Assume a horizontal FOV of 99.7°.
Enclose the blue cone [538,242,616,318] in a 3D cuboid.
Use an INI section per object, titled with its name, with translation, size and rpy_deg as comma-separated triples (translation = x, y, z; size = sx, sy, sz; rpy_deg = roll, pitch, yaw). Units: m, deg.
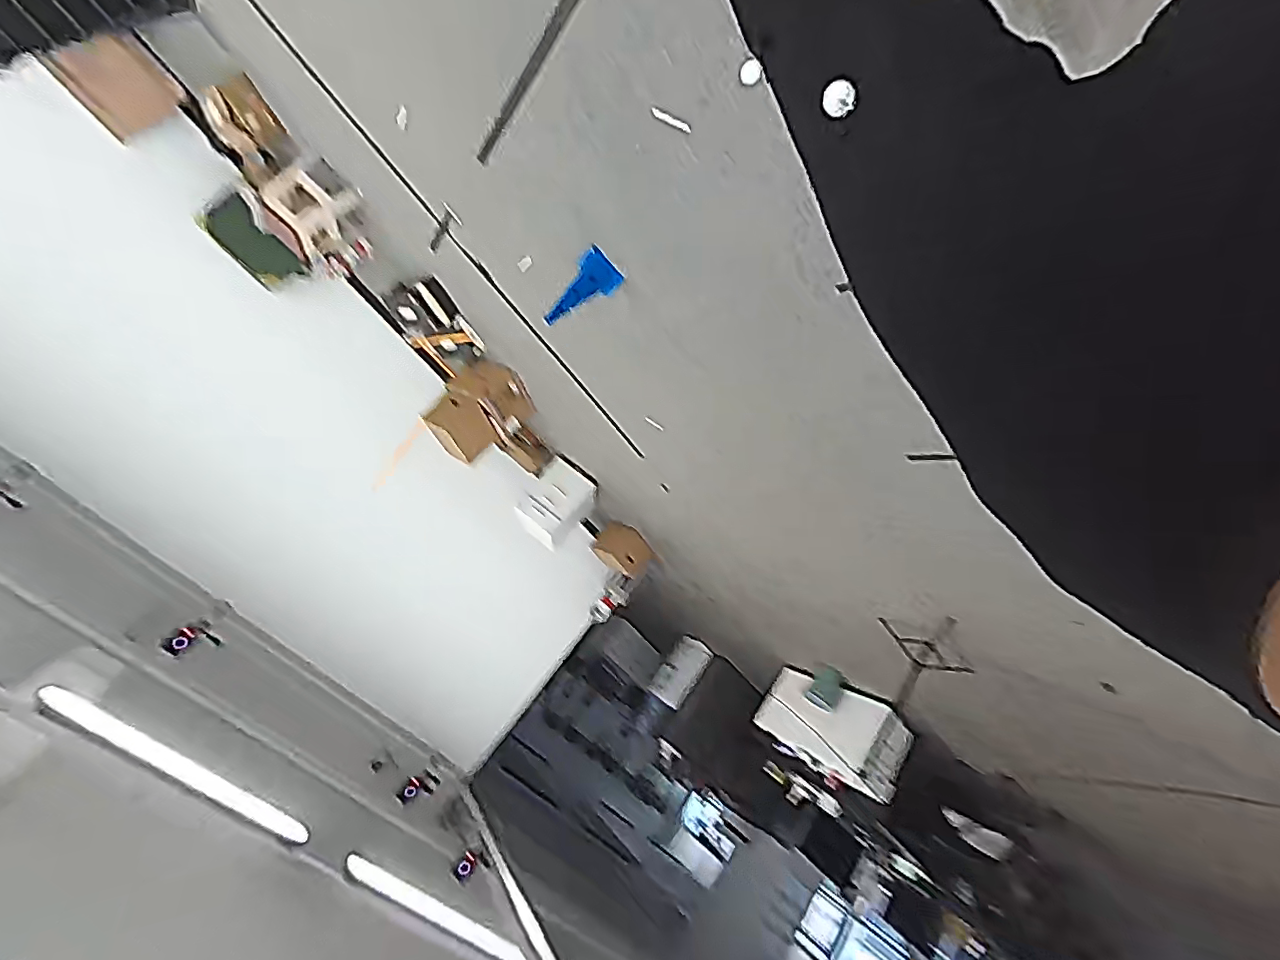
[blue cone]
translation = -0.292, -0.813, 2.309
size = 0.192, 0.380, 0.193
rpy_deg = 47, 157, -17
